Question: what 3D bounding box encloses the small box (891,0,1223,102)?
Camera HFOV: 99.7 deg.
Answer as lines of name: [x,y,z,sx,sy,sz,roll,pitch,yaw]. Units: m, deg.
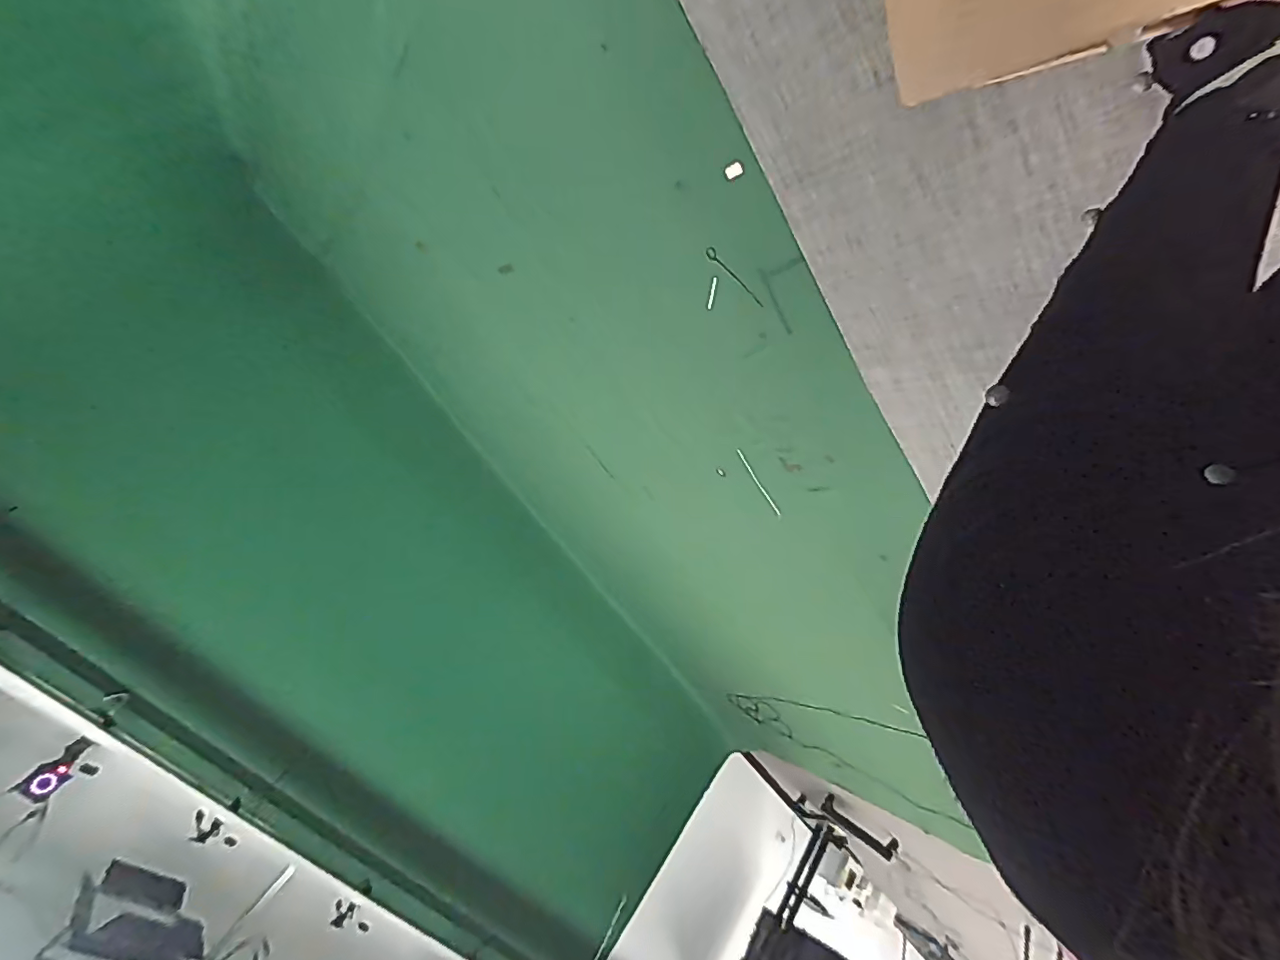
small box: [0.202,-0.285,0.197,0.179,0.176,0.168,10,142,45]
